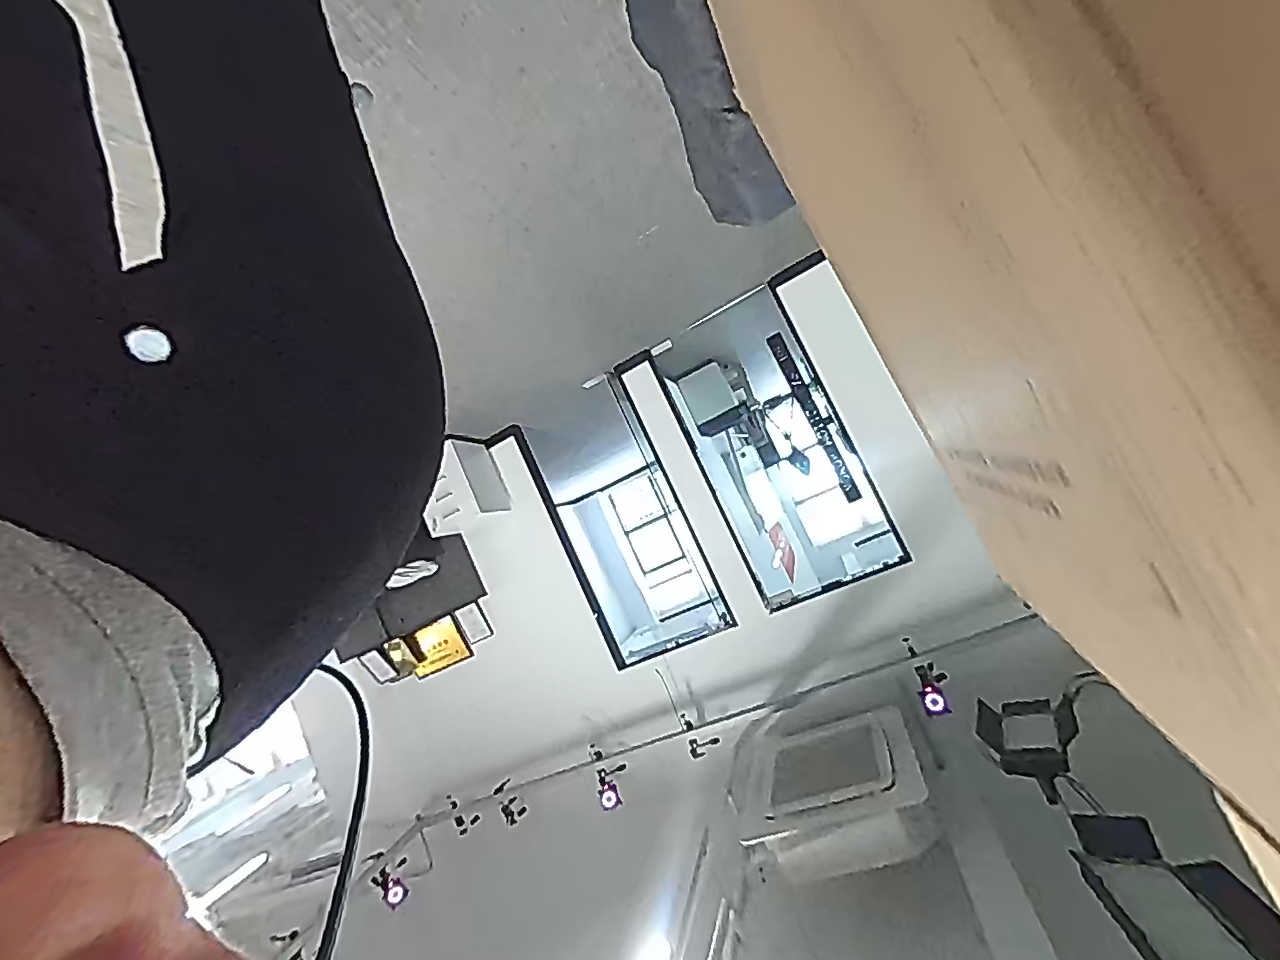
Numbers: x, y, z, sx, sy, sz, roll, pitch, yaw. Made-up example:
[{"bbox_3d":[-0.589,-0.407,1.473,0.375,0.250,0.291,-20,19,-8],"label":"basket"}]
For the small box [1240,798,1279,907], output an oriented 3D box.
[{"bbox_3d":[0.330,0.179,0.127,0.179,0.176,0.168,-29,173,21],"label":"small box"}]
